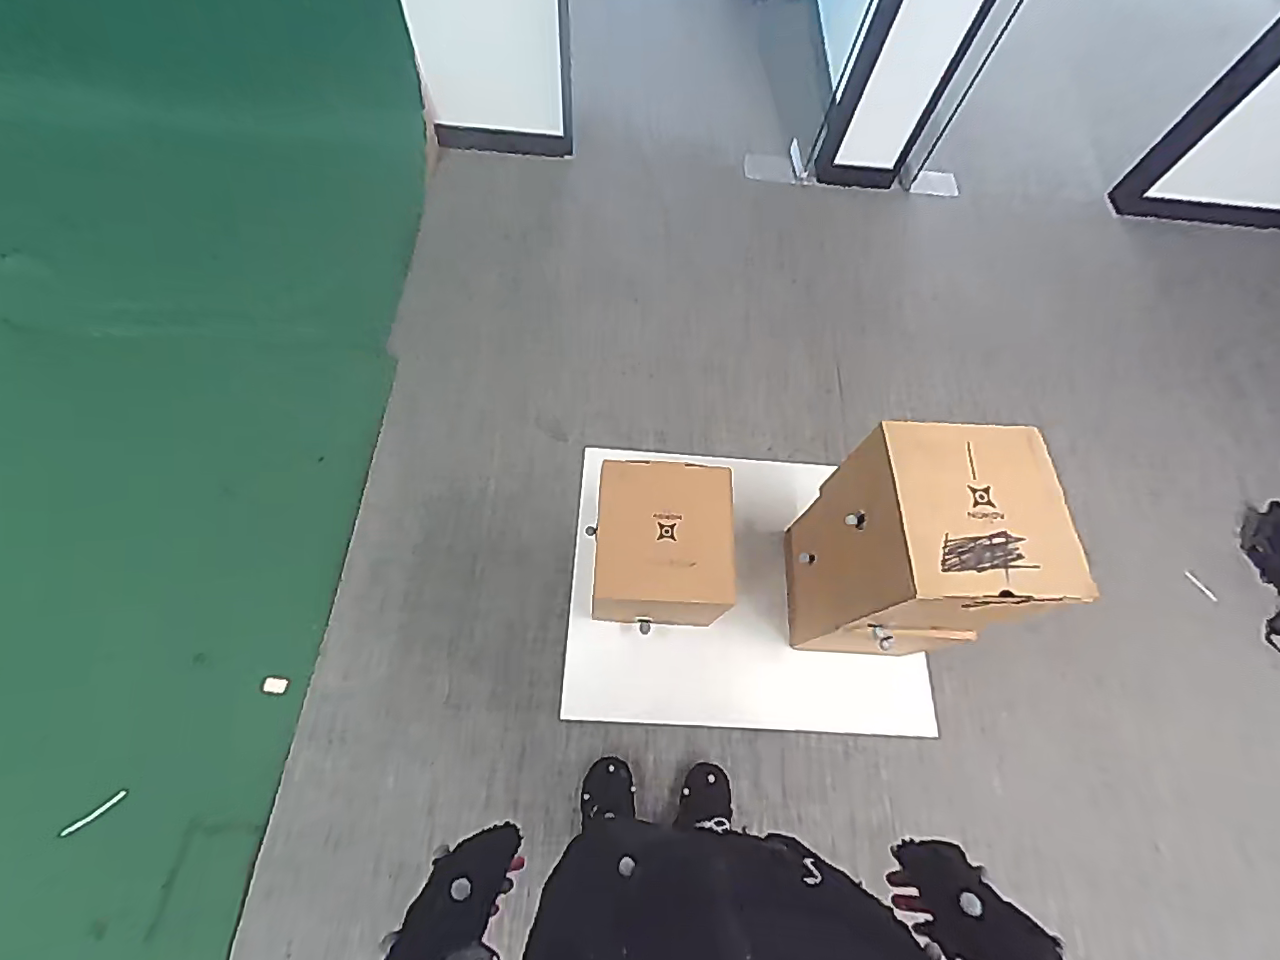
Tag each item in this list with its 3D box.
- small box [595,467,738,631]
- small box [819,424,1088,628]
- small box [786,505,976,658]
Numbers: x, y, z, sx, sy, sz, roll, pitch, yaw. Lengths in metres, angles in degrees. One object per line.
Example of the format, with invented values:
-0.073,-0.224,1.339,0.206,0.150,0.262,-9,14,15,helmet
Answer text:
0.026,0.098,0.719,0.168,0.176,0.179,2,67,-3,small box
0.306,0.058,0.574,0.168,0.176,0.179,1,65,-3,small box
0.302,0.132,0.721,0.168,0.176,0.179,3,65,-2,small box
